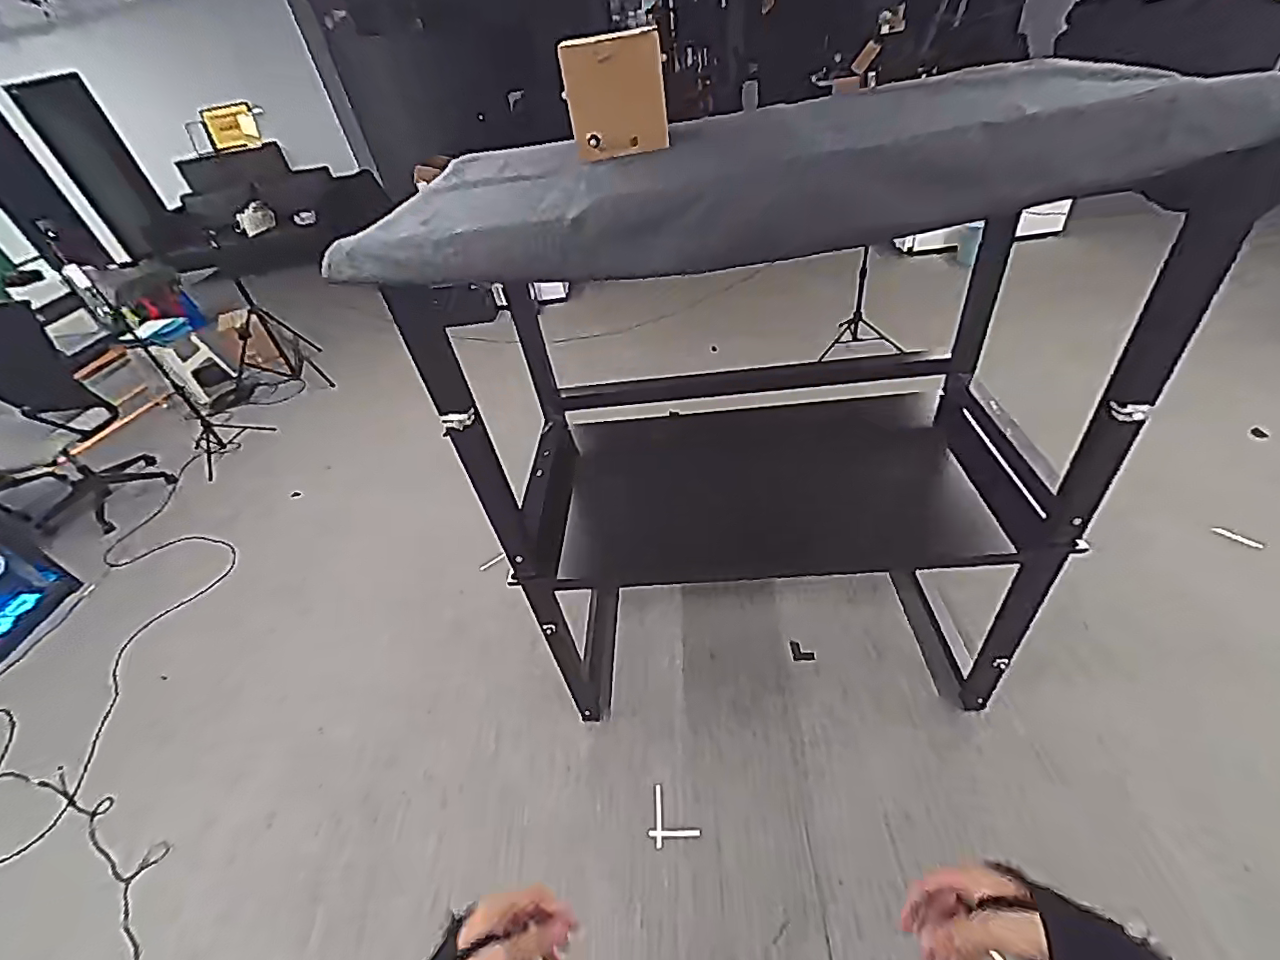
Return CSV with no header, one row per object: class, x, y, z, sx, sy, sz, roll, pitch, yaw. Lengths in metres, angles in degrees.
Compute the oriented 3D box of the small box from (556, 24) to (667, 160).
small box,-0.045,-0.691,0.970,0.168,0.176,0.179,-7,41,4
